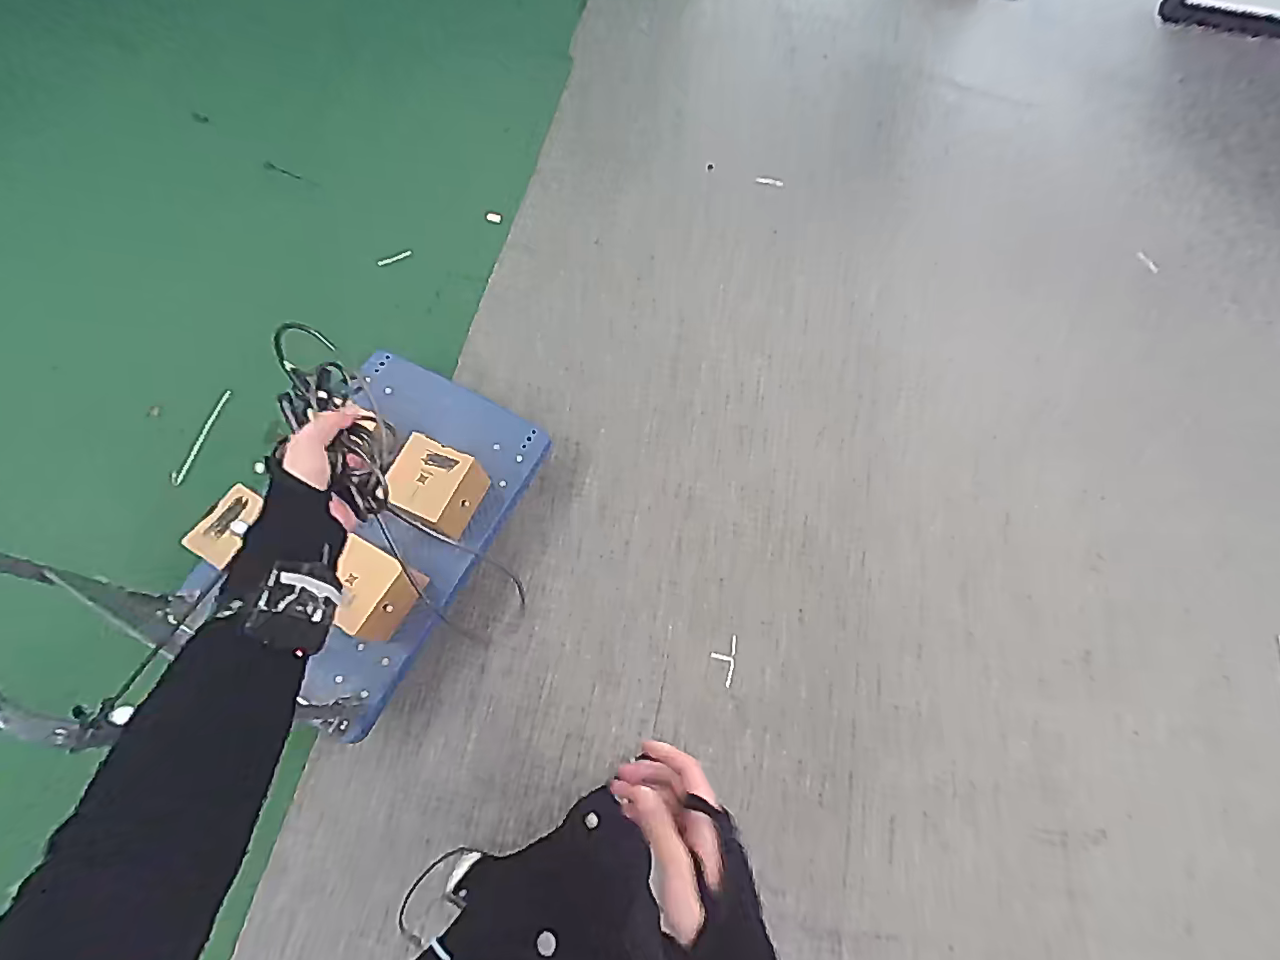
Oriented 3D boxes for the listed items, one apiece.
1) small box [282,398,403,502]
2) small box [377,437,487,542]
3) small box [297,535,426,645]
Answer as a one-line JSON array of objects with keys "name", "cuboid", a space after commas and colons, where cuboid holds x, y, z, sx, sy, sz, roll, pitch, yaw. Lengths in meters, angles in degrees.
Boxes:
[{"name": "small box", "cuboid": [-0.720, -0.066, 1.334, 0.168, 0.176, 0.179, 23, 71, 6]}, {"name": "small box", "cuboid": [-0.489, 0.028, 1.307, 0.168, 0.176, 0.179, 22, 72, 7]}, {"name": "small box", "cuboid": [-0.612, 0.254, 1.223, 0.168, 0.176, 0.179, 27, 72, 8]}]
